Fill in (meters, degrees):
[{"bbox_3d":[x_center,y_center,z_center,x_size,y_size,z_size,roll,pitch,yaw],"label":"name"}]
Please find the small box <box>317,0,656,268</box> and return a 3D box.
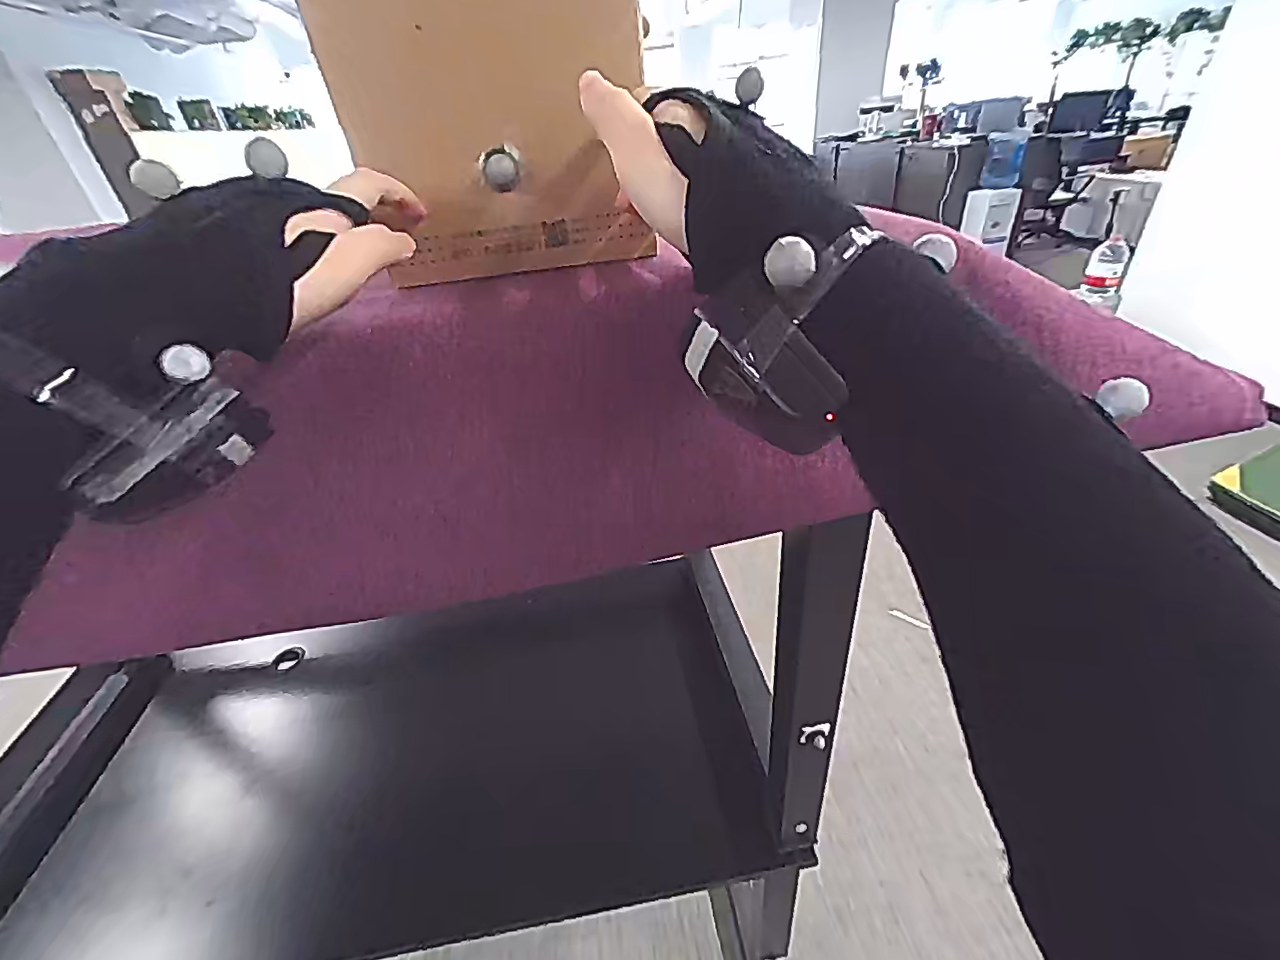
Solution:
[{"bbox_3d":[-0.083,-0.246,0.356,0.168,0.176,0.179,-7,33,0],"label":"small box"}]
